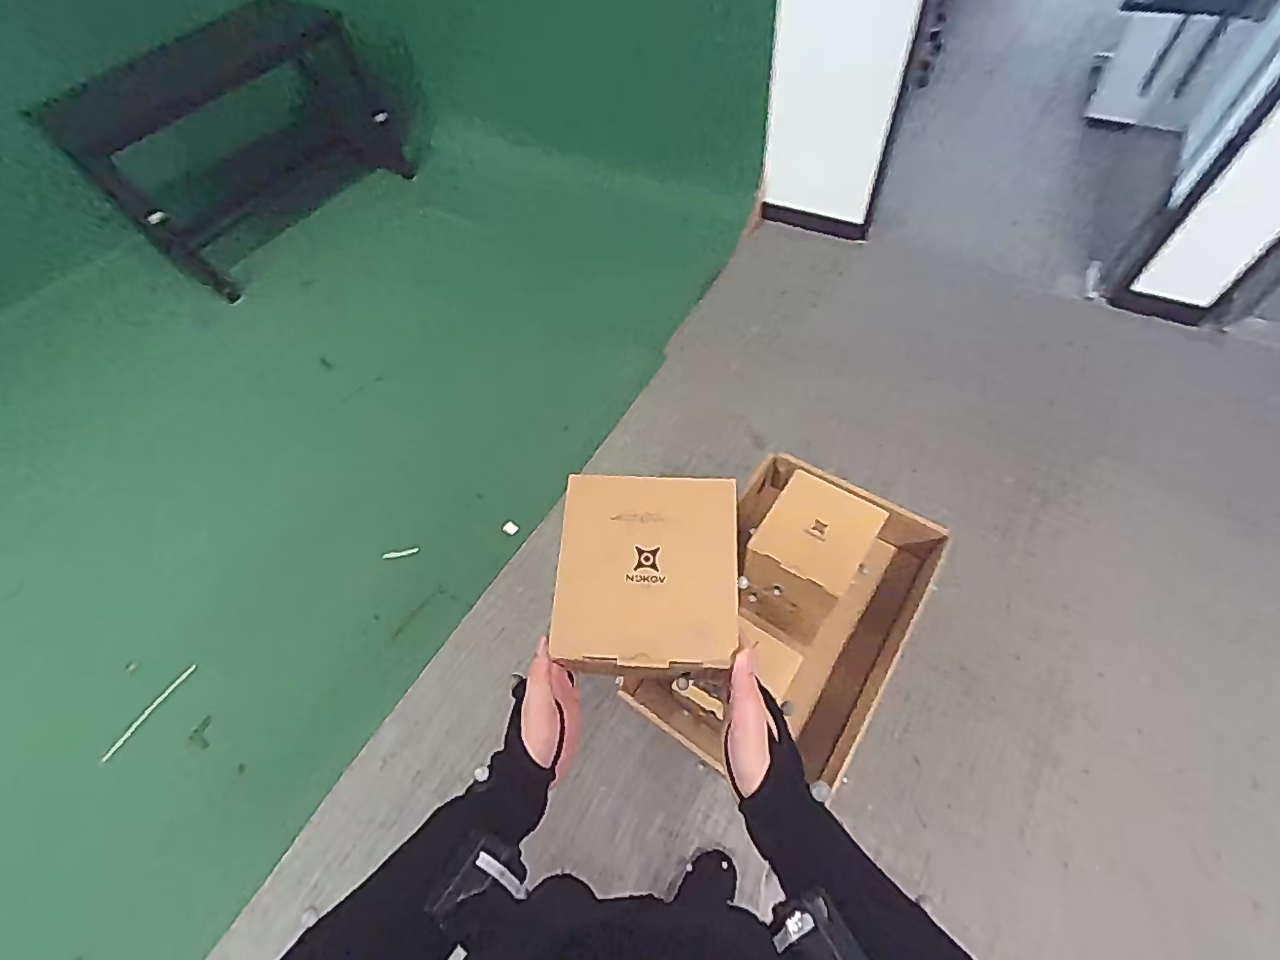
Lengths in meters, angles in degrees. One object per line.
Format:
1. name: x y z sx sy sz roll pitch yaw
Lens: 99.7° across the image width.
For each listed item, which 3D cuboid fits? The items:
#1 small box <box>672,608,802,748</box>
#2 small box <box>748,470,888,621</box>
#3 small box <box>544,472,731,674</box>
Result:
1. small box: 0.179 0.371 1.007 0.168 0.176 0.179 30 66 22
2. small box: 0.303 0.120 0.957 0.168 0.176 0.179 30 69 22
3. small box: 0.006 0.105 0.569 0.168 0.176 0.179 2 66 3
